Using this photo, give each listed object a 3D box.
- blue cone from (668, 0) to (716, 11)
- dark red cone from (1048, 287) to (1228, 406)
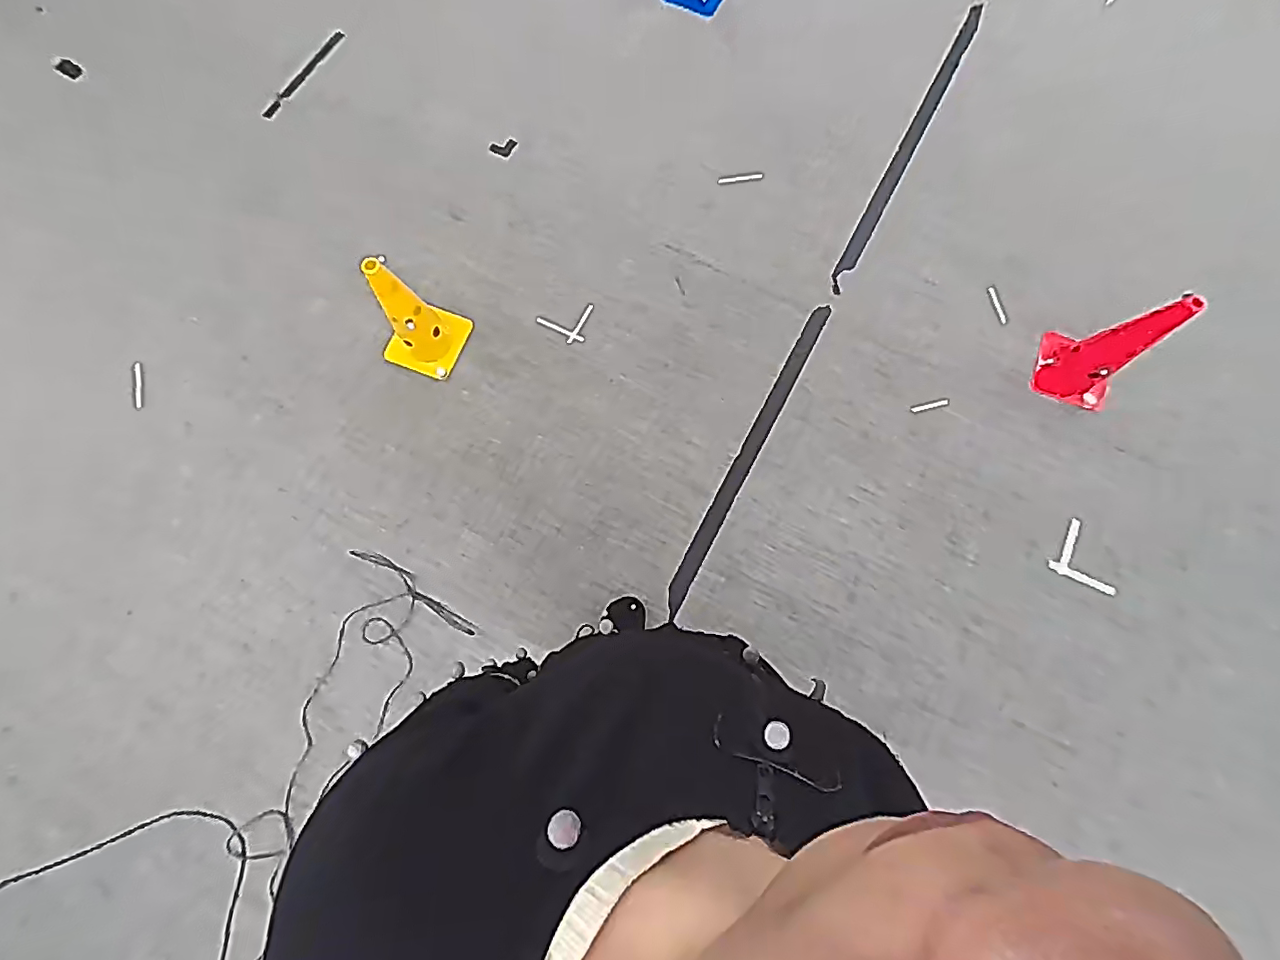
[{"bbox_3d":[0.184,-1.720,1.681,0.192,0.380,0.193,28,78,7],"label":"blue cone"},{"bbox_3d":[1.231,-0.349,1.329,0.201,0.394,0.202,20,77,6],"label":"dark red cone"}]
